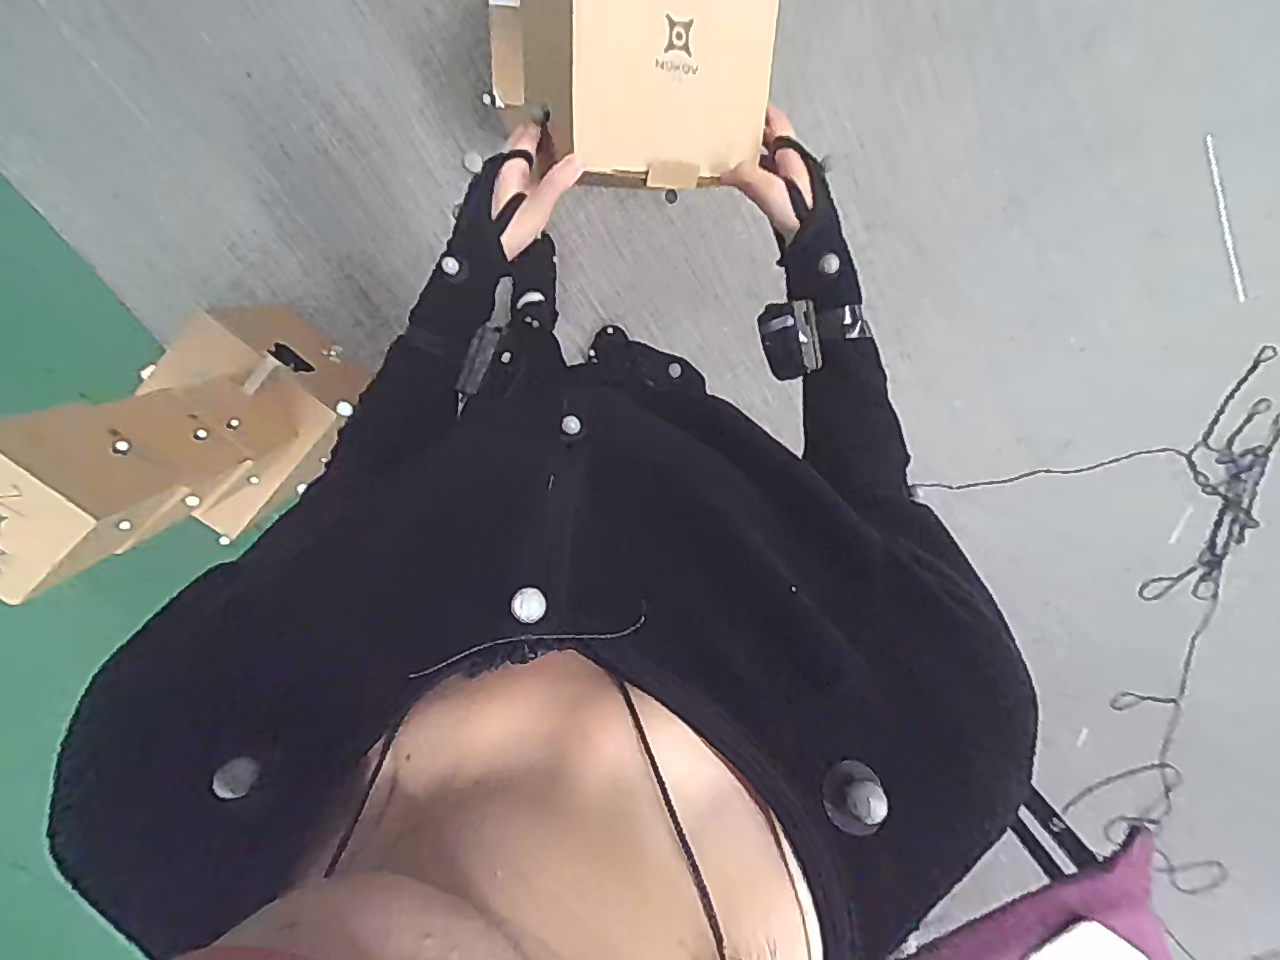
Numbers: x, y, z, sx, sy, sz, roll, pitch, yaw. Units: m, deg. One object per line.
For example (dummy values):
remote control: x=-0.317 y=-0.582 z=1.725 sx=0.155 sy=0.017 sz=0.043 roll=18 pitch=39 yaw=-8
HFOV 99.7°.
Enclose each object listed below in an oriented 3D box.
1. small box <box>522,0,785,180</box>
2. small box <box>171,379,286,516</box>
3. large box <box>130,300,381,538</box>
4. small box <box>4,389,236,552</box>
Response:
small box: x=0.000 y=-0.357 z=0.452 sx=0.168 sy=0.176 sz=0.179 roll=-8 pitch=117 yaw=-22
small box: x=-0.826 y=-0.070 z=1.024 sx=0.168 sy=0.176 sz=0.179 roll=-40 pitch=109 yaw=8
large box: x=-0.891 y=-0.155 z=1.249 sx=0.320 sy=0.320 sz=0.408 roll=42 pitch=102 yaw=-17
small box: x=-0.812 y=-0.023 z=0.869 sx=0.179 sy=0.176 sz=0.168 roll=-38 pitch=109 yaw=7
